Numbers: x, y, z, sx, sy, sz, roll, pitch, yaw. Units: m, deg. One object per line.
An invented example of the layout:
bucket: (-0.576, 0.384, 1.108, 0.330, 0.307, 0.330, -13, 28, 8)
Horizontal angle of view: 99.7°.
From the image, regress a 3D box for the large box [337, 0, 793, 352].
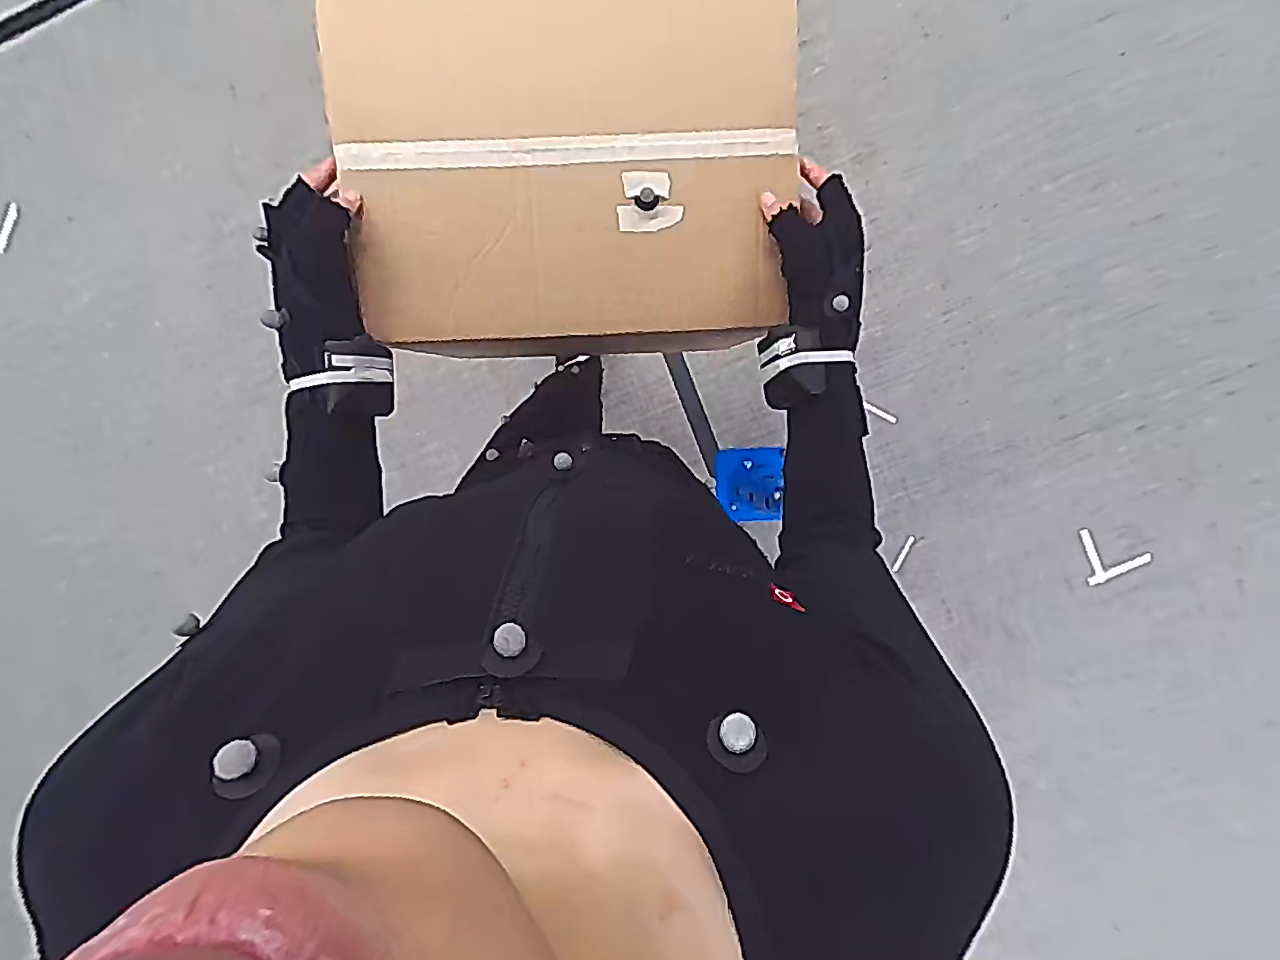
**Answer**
large box: (-0.066, -0.328, 0.636, 0.408, 0.320, 0.320, -2, 100, -2)

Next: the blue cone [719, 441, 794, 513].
blue cone: (0.307, 0.010, 1.299, 0.193, 0.380, 0.192, -1, 96, 1)
